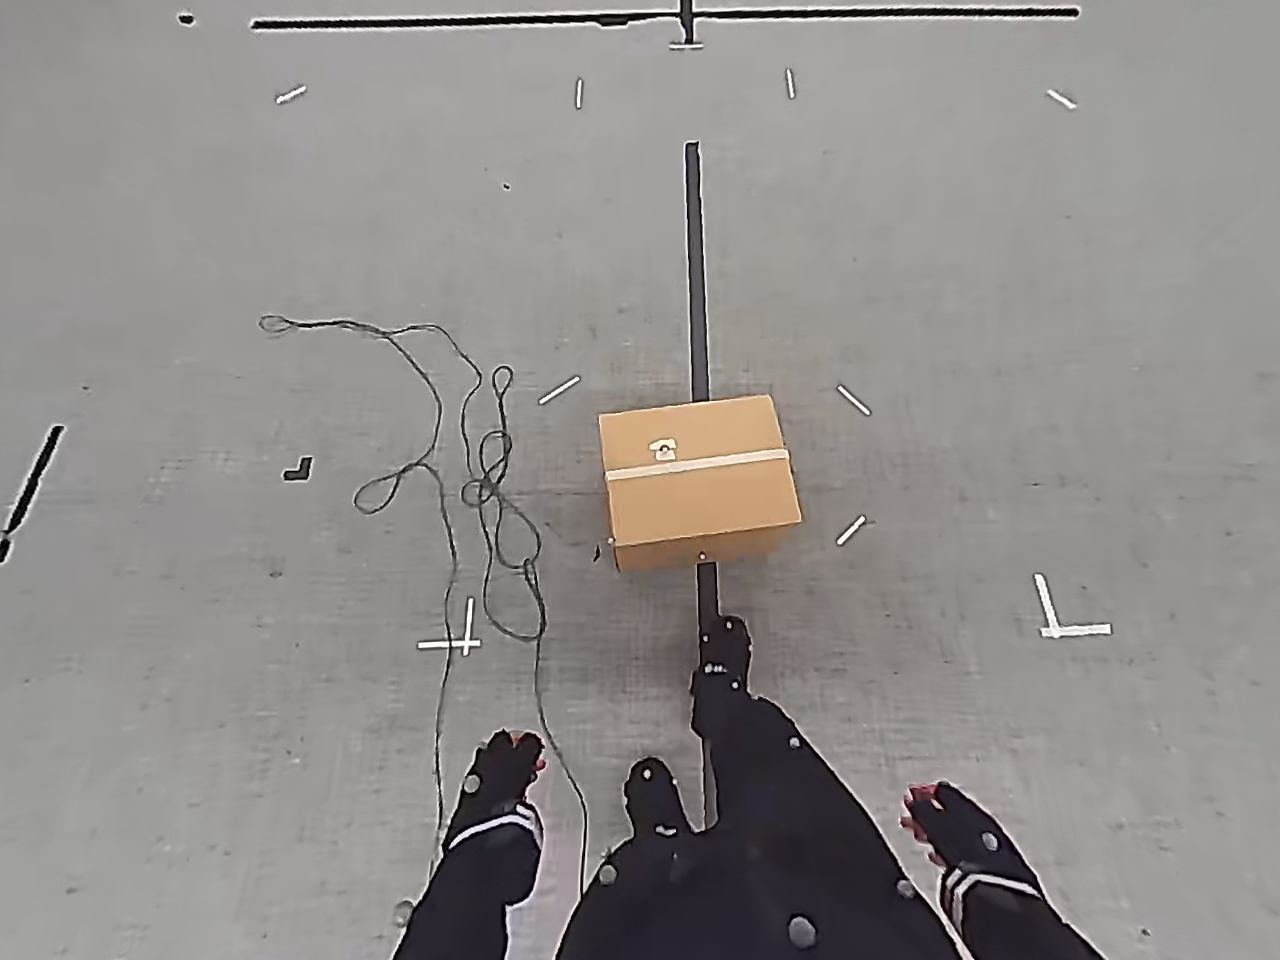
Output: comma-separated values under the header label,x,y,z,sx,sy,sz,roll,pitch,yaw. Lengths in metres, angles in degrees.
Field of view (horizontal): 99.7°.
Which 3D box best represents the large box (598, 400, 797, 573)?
label,x,y,z,sx,sy,sz,roll,pitch,yaw
large box,0.124,0.032,1.334,0.408,0.320,0.320,-7,69,-2
